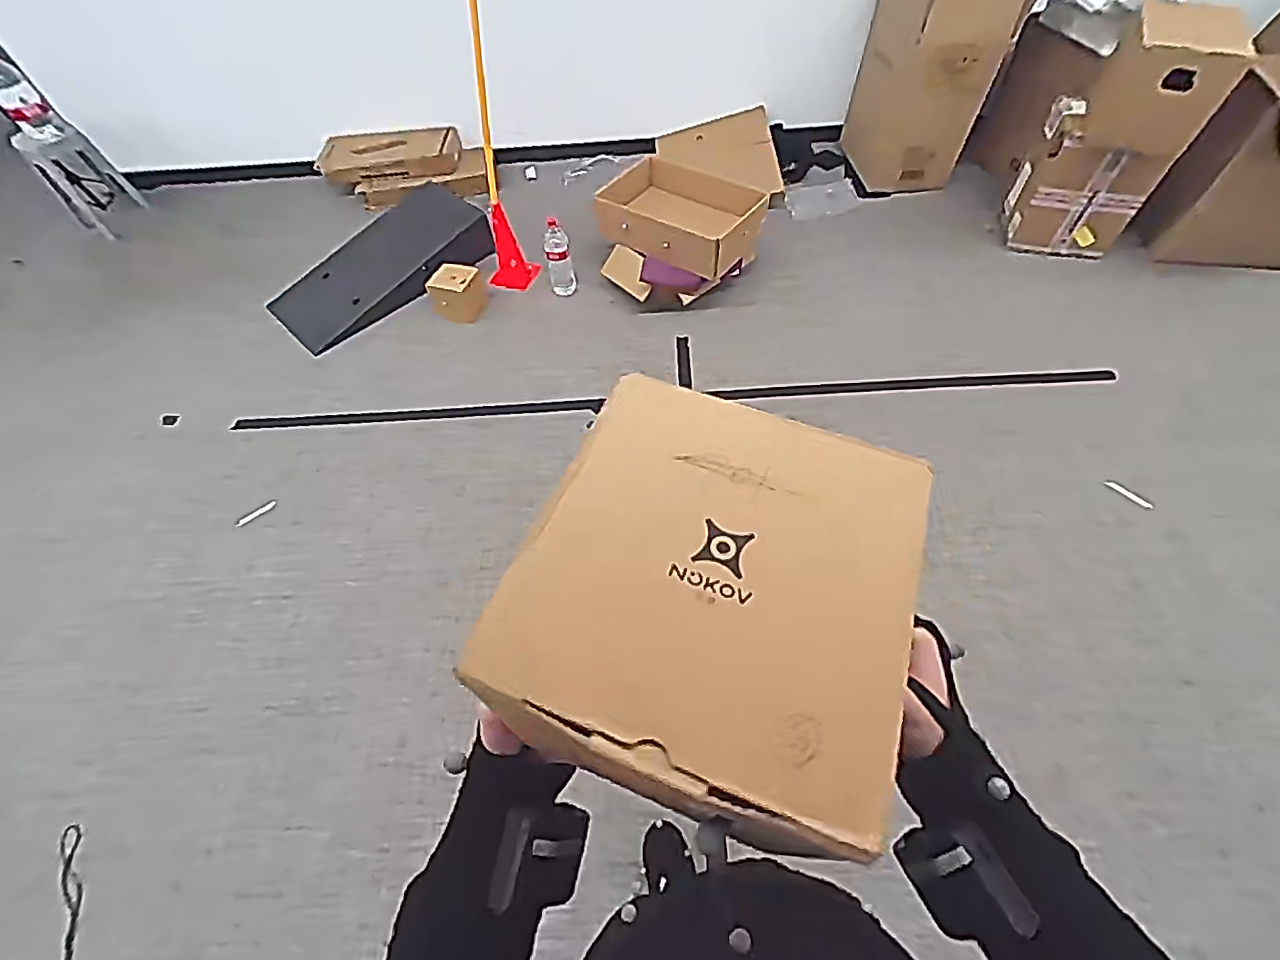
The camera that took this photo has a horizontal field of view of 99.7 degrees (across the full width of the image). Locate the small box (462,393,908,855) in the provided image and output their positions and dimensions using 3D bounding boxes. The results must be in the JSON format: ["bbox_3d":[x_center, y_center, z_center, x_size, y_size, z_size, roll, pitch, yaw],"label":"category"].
[{"bbox_3d":[0.031,0.085,0.314,0.168,0.176,0.179,17,57,10],"label":"small box"}]
